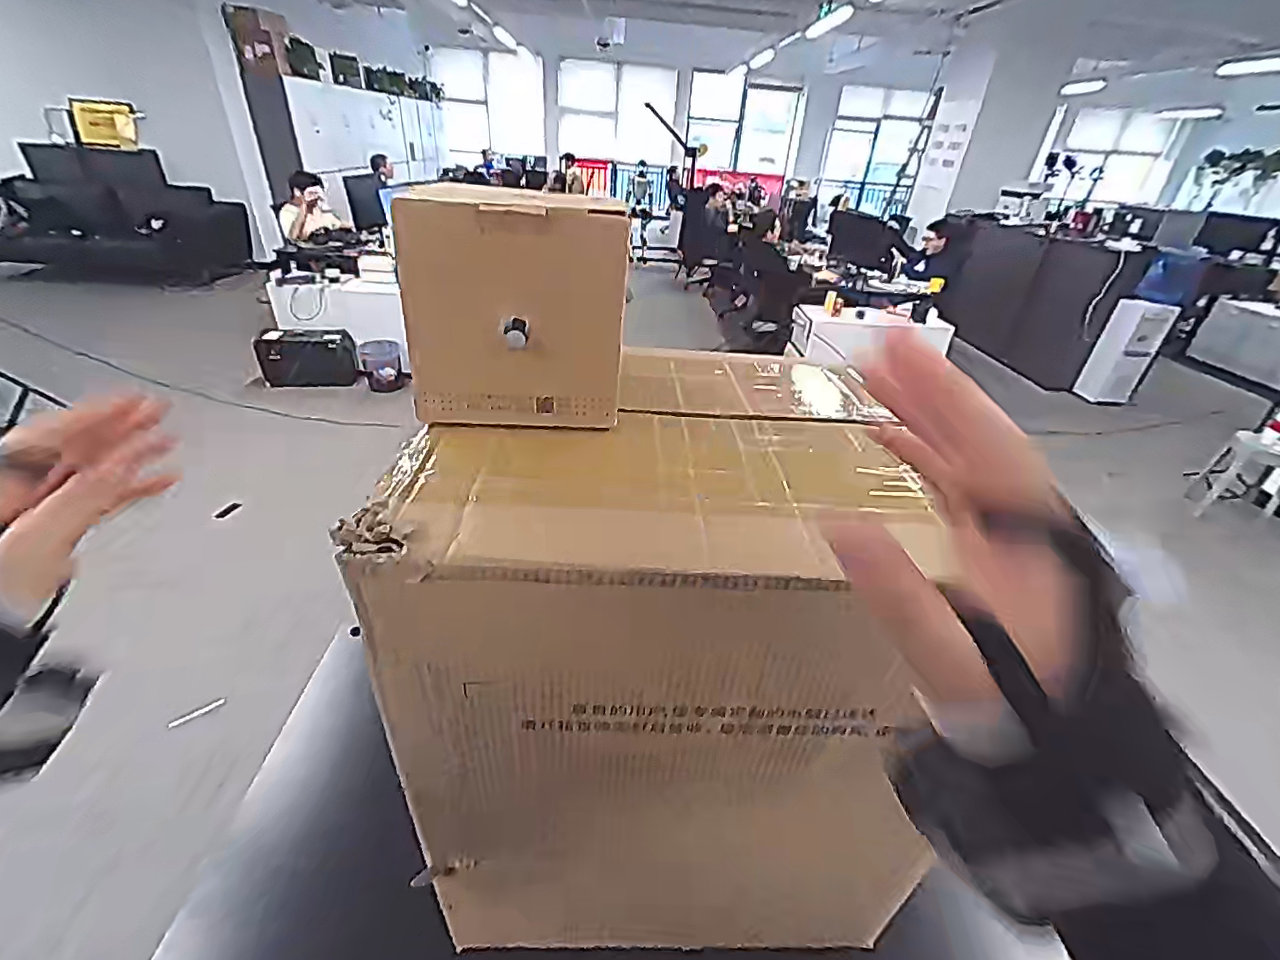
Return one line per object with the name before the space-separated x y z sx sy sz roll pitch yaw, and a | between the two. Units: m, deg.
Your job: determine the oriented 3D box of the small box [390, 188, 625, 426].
small box | -0.102 -0.157 0.486 0.168 0.176 0.179 1 31 -7
